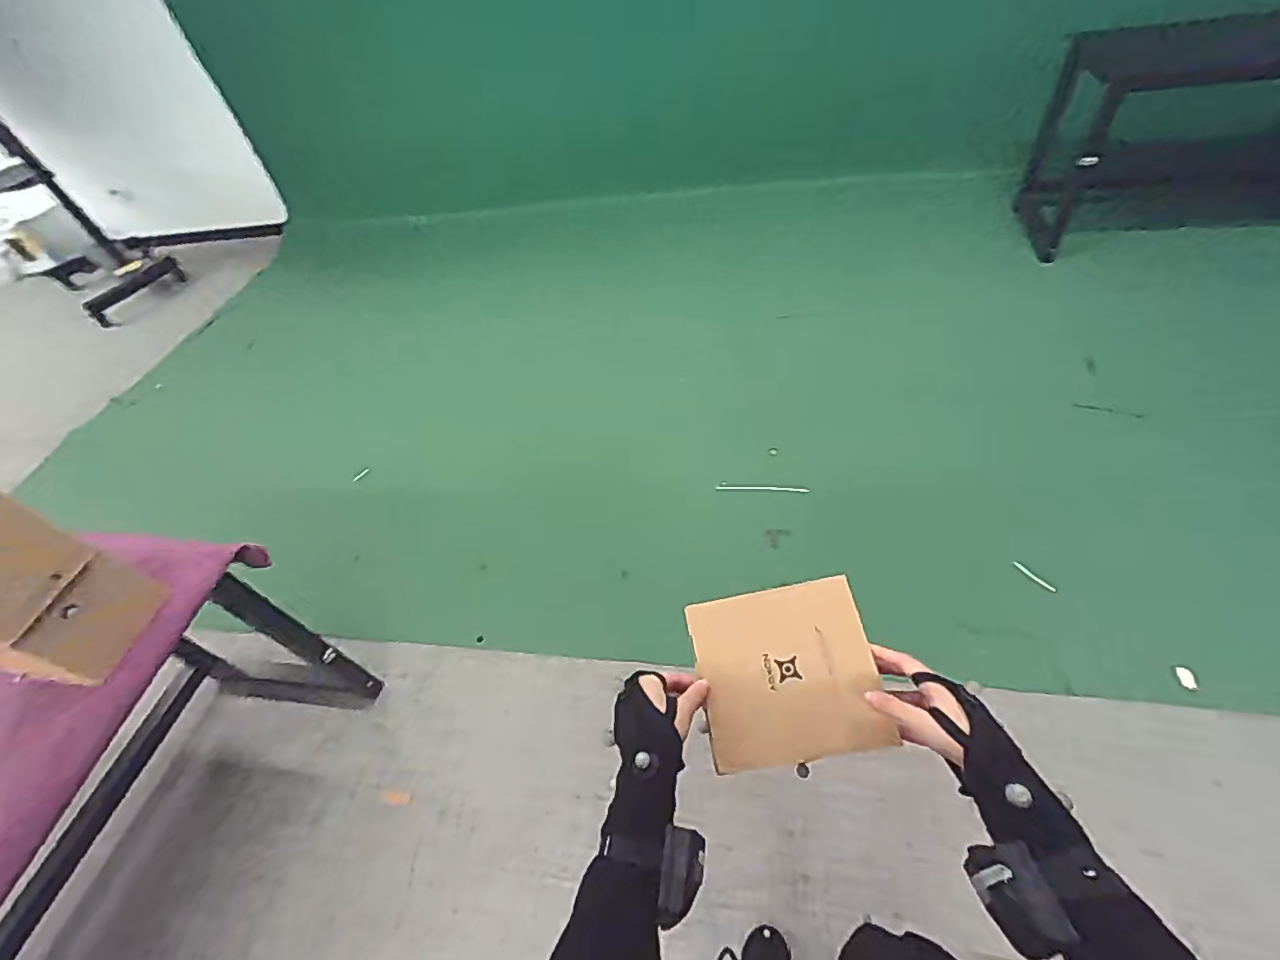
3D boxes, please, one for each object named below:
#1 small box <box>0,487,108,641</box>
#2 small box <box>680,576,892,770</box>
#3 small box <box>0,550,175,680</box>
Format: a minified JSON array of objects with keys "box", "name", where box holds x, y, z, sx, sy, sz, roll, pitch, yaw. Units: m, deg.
[{"box":[-0.974,0.123,0.795,0.179,0.176,0.168,2,51,13],"name":"small box"},{"box":[0.155,0.226,0.612,0.179,0.176,0.168,-13,62,6],"name":"small box"},{"box":[-0.968,0.226,0.923,0.168,0.176,0.179,1,50,11],"name":"small box"}]
